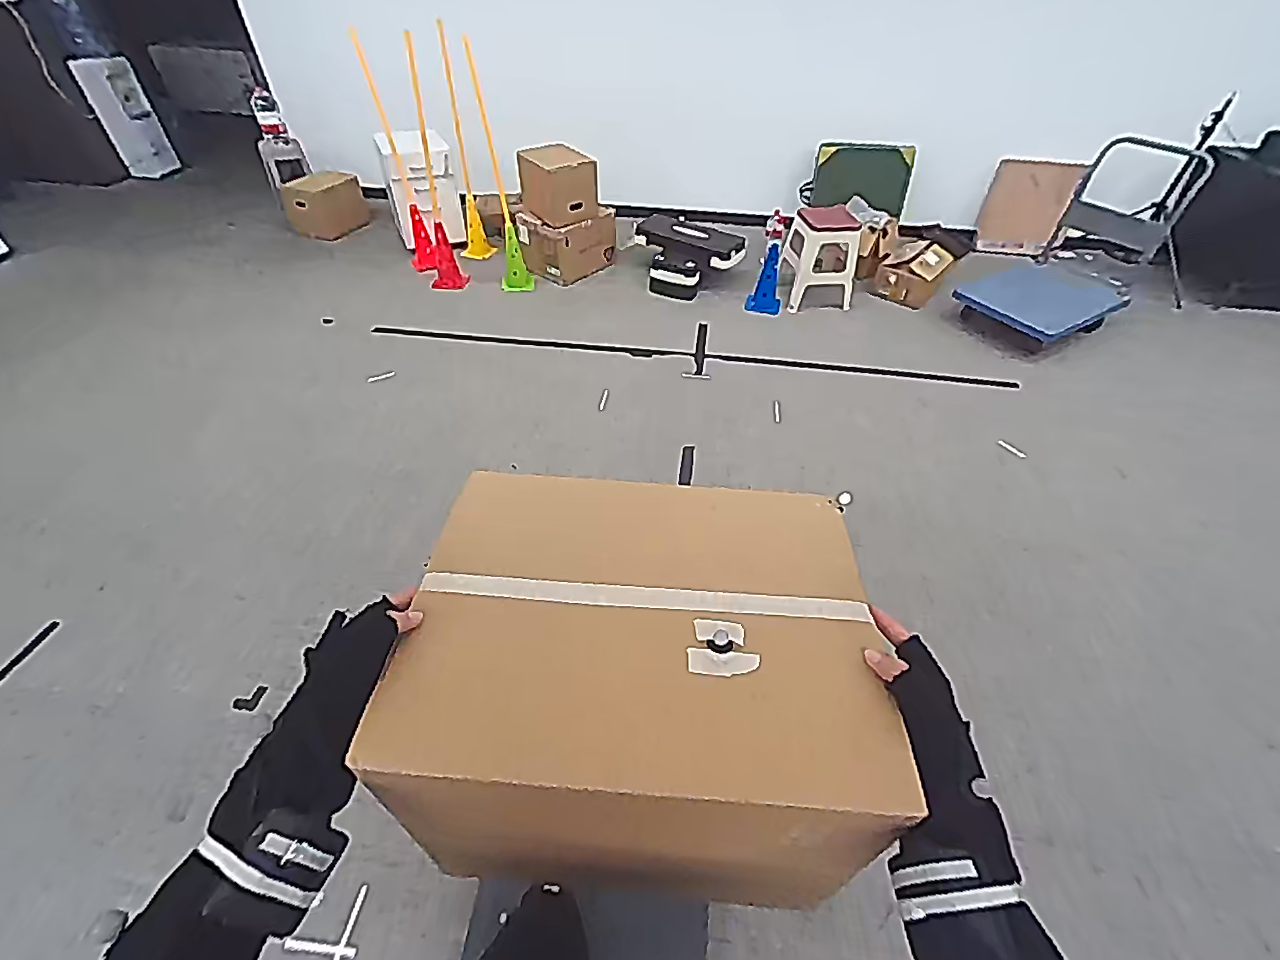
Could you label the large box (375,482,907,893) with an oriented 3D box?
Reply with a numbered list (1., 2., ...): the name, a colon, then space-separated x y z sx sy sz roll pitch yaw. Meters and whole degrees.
1. large box: 0.002 0.226 0.604 0.408 0.320 0.320 4 42 2
